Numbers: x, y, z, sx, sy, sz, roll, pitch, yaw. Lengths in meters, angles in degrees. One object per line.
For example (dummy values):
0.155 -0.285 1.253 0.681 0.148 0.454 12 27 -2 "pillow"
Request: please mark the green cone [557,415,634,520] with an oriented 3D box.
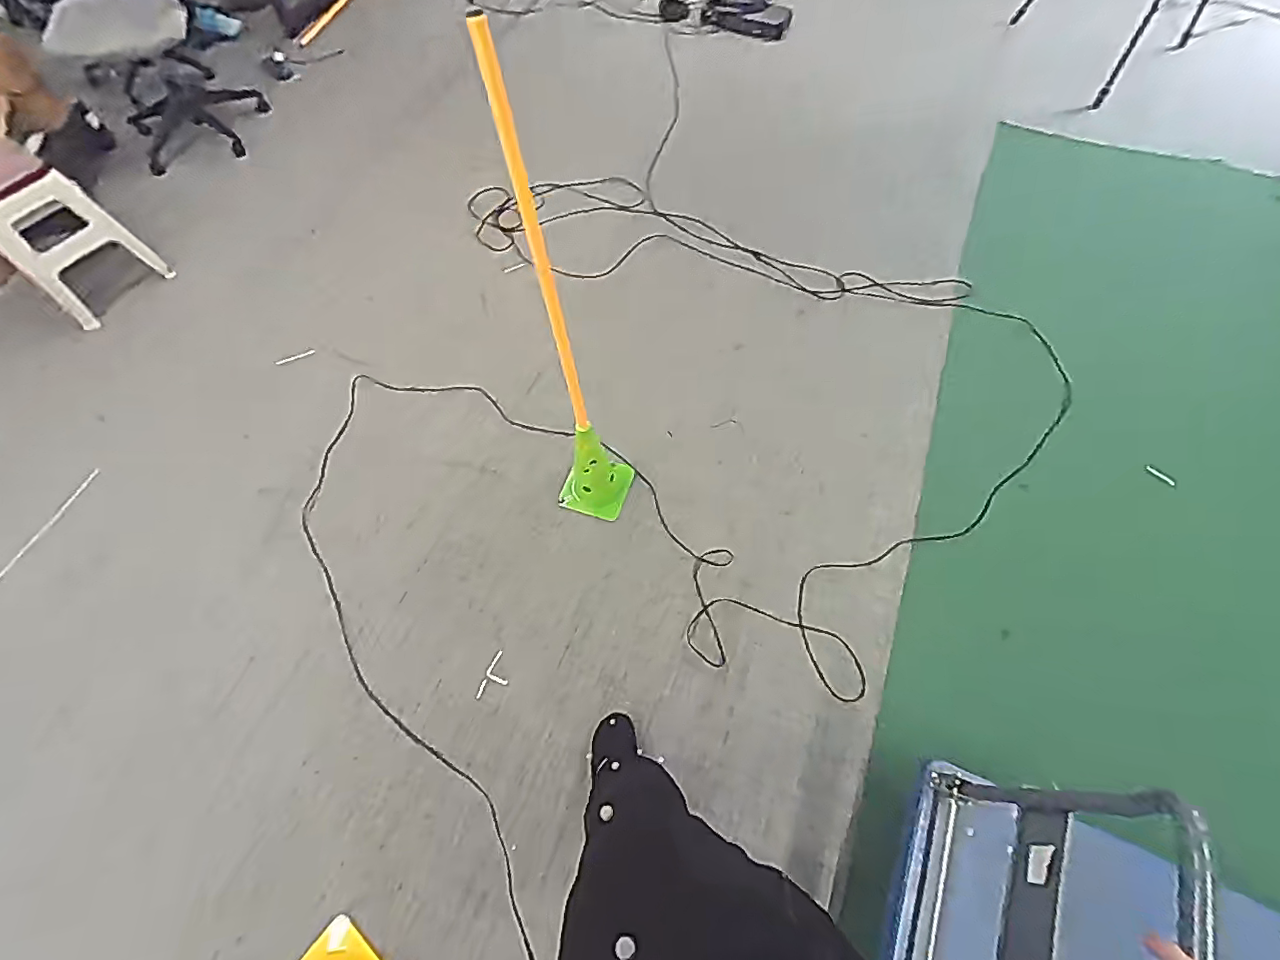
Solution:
-0.140 -0.062 1.552 0.200 0.368 0.202 16 63 9 "green cone"
